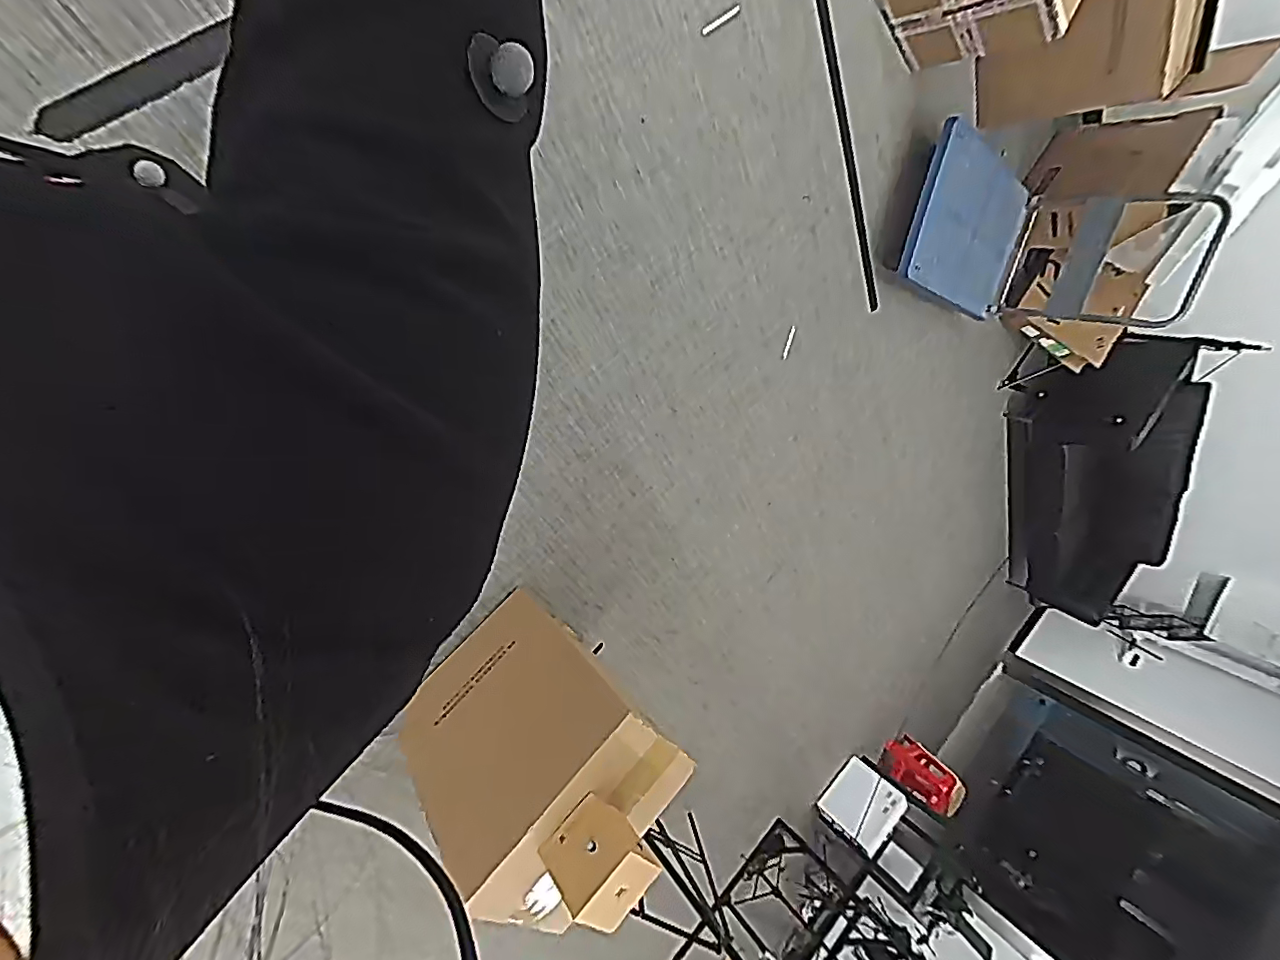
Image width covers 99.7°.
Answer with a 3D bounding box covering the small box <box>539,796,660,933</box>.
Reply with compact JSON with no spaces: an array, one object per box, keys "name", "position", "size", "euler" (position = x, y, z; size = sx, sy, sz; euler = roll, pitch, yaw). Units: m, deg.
[{"name":"small box","position":[-0.093,0.843,1.198],"size":[0.168,0.176,0.179],"euler":[-45,131,-16]}]
